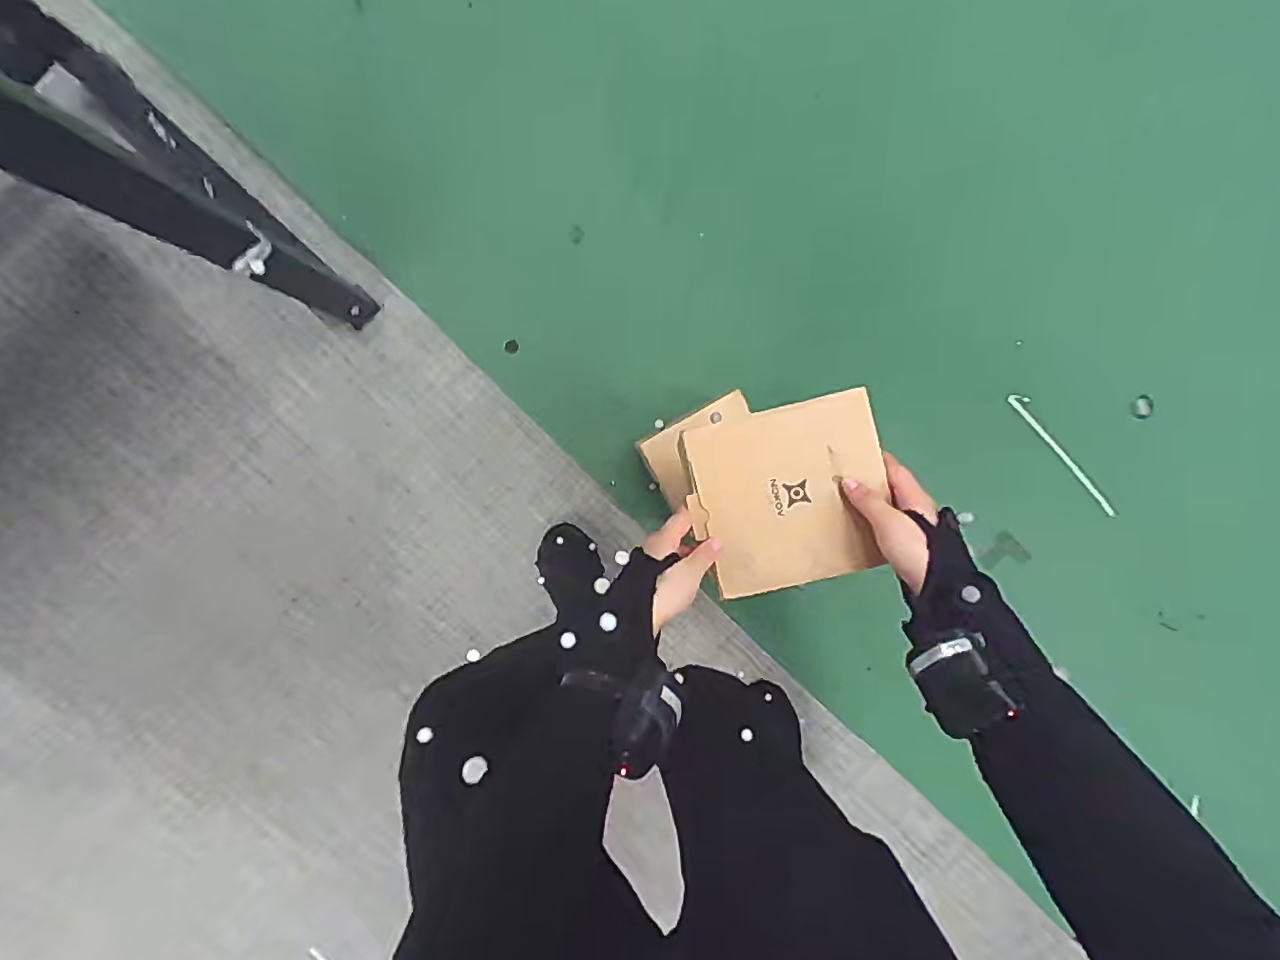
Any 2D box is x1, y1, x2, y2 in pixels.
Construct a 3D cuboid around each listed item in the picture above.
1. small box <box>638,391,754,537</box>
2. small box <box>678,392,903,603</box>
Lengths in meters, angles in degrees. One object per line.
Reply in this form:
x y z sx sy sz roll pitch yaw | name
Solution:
0.107 -0.029 0.889 0.179 0.176 0.168 -29 97 -1 | small box
0.143 0.017 0.577 0.179 0.176 0.168 -14 90 2 | small box
